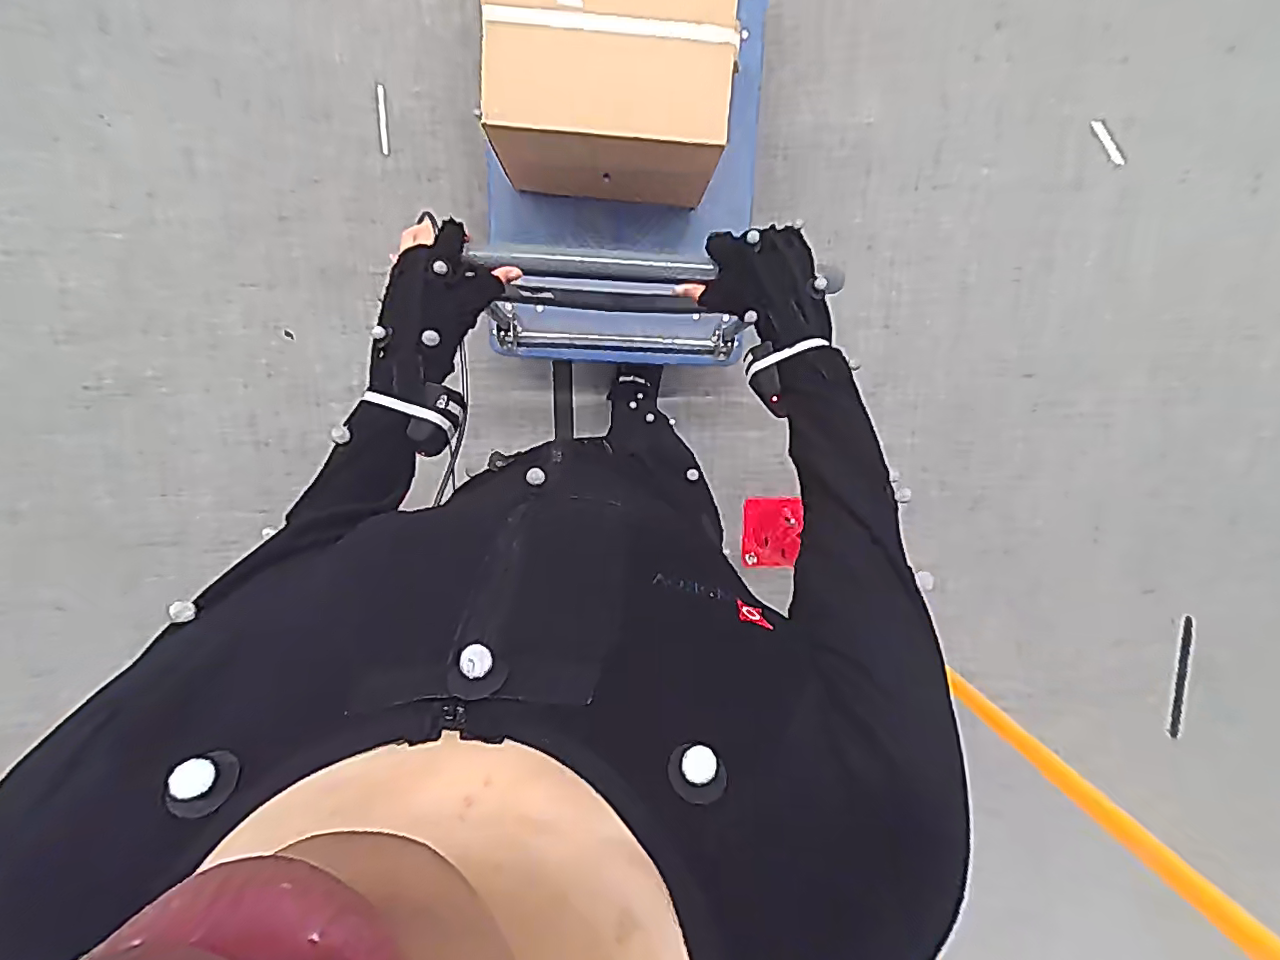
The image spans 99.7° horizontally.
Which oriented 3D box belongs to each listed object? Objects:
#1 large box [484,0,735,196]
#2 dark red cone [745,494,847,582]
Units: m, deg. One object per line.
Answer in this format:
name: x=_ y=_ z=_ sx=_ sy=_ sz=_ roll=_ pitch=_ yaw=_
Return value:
large box: x=-0.052 y=-0.750 z=1.008 sx=0.408 sy=0.320 sz=0.320 roll=3 pitch=100 yaw=-3
dark red cone: x=0.397 y=0.164 z=1.312 sx=0.201 sy=0.394 sz=0.202 roll=-1 pitch=100 yaw=-4
